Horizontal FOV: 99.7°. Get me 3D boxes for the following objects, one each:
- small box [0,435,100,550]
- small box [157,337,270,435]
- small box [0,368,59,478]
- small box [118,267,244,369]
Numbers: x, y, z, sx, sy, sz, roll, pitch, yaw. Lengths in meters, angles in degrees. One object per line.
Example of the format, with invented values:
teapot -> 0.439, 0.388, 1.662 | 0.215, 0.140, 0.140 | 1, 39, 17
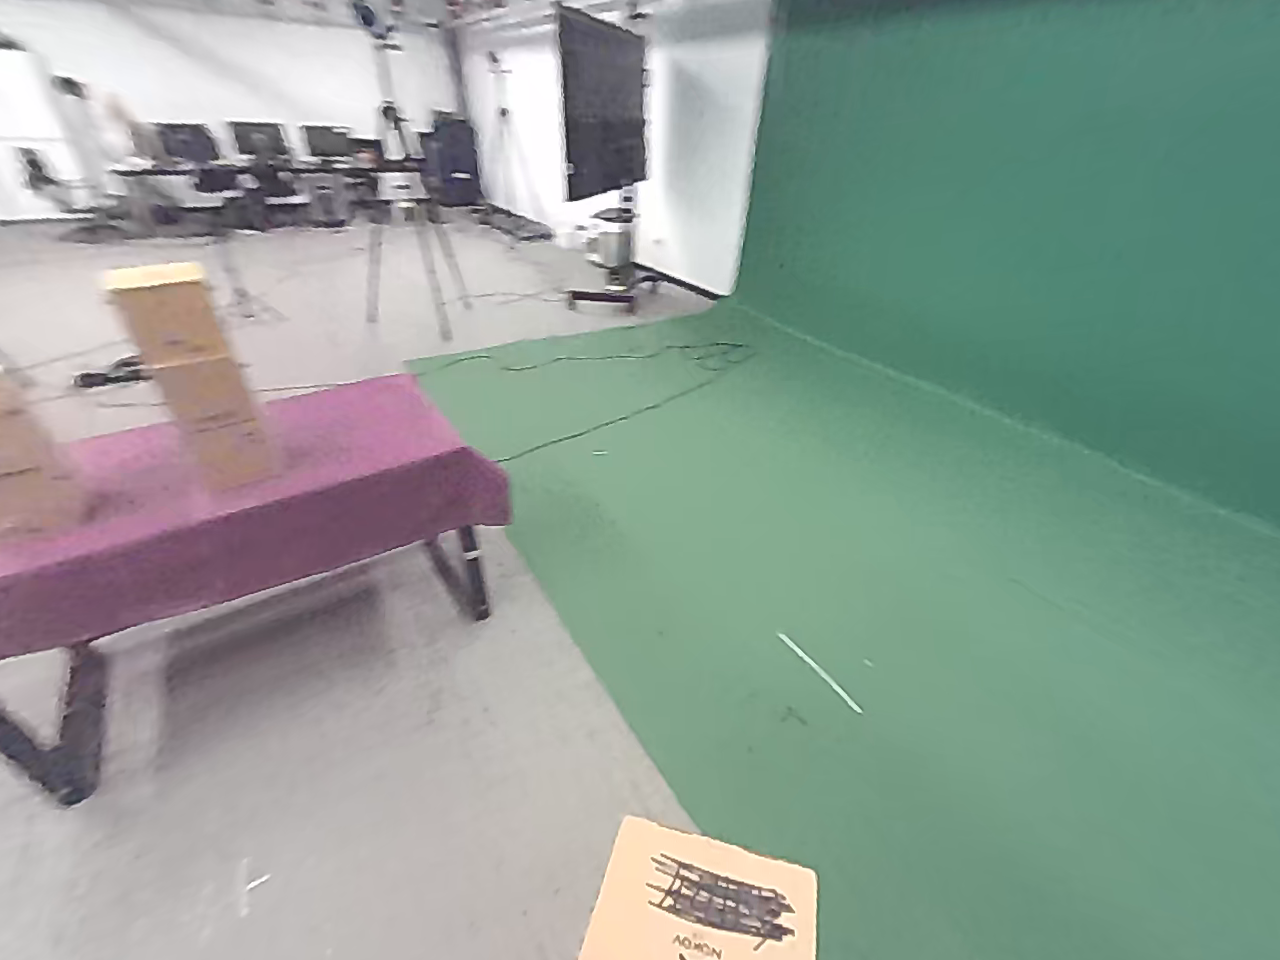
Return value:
small box -> -1.354, 0.025, 1.201 | 0.168, 0.176, 0.179 | -19, 40, -28
small box -> -1.021, -0.230, 1.301 | 0.168, 0.176, 0.179 | -22, 42, -30
small box -> -1.348, -0.106, 1.101 | 0.168, 0.176, 0.179 | -18, 40, -28
small box -> -1.023, -0.366, 1.212 | 0.168, 0.176, 0.179 | -24, 43, -31
